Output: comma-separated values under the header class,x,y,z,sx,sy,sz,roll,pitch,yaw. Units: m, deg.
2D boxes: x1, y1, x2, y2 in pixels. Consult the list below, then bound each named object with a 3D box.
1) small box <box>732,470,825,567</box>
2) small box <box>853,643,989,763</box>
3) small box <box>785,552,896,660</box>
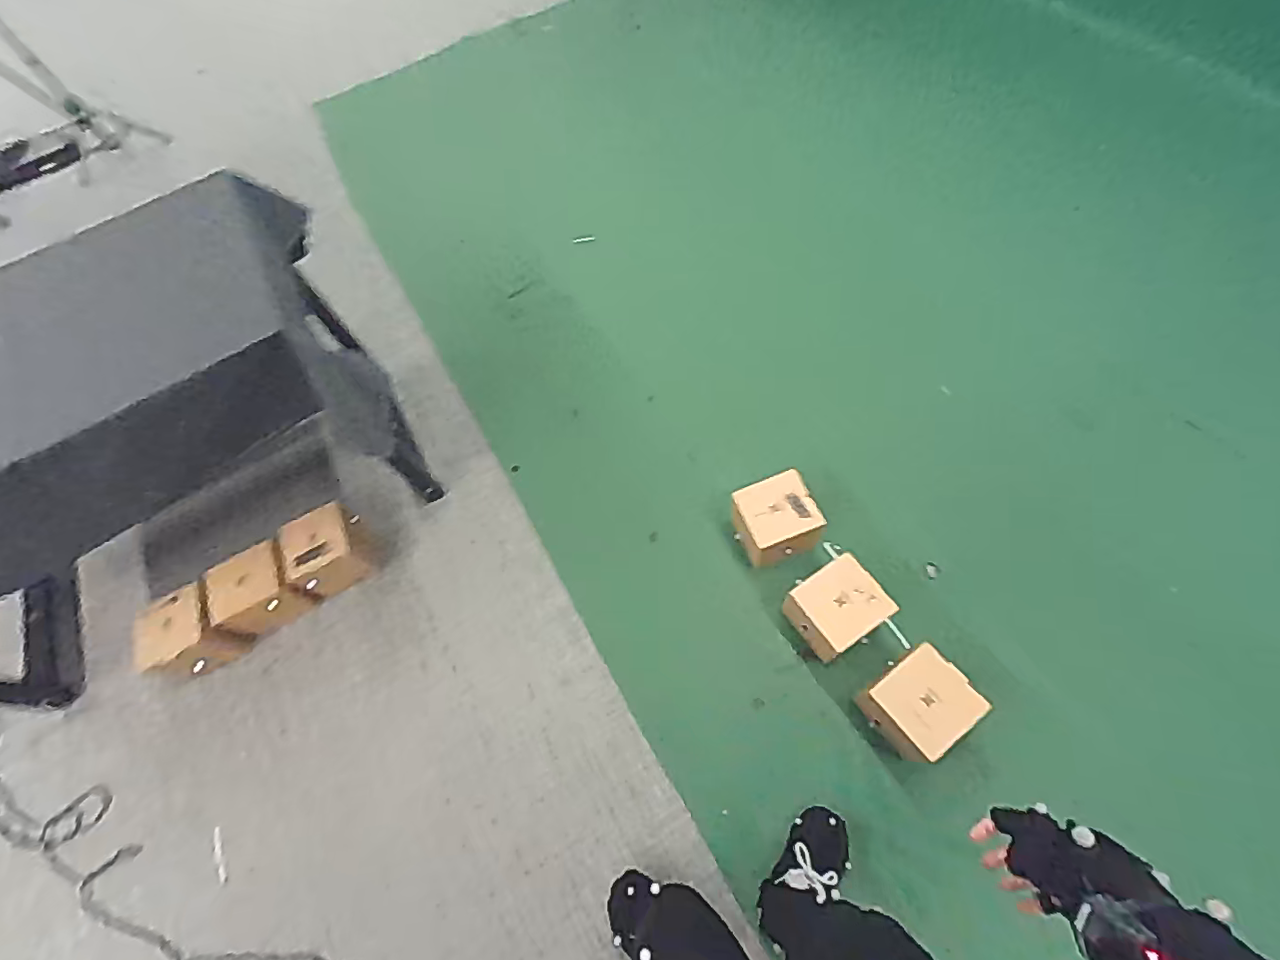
class,x,y,z,sx,sy,sz,roll,pitch,yaw
small box,0.348,0.104,1.397,0.179,0.176,0.168,-20,62,-2
small box,0.596,0.485,1.175,0.179,0.176,0.168,-34,64,-11
small box,0.462,0.305,1.280,0.179,0.176,0.168,-31,65,-9
